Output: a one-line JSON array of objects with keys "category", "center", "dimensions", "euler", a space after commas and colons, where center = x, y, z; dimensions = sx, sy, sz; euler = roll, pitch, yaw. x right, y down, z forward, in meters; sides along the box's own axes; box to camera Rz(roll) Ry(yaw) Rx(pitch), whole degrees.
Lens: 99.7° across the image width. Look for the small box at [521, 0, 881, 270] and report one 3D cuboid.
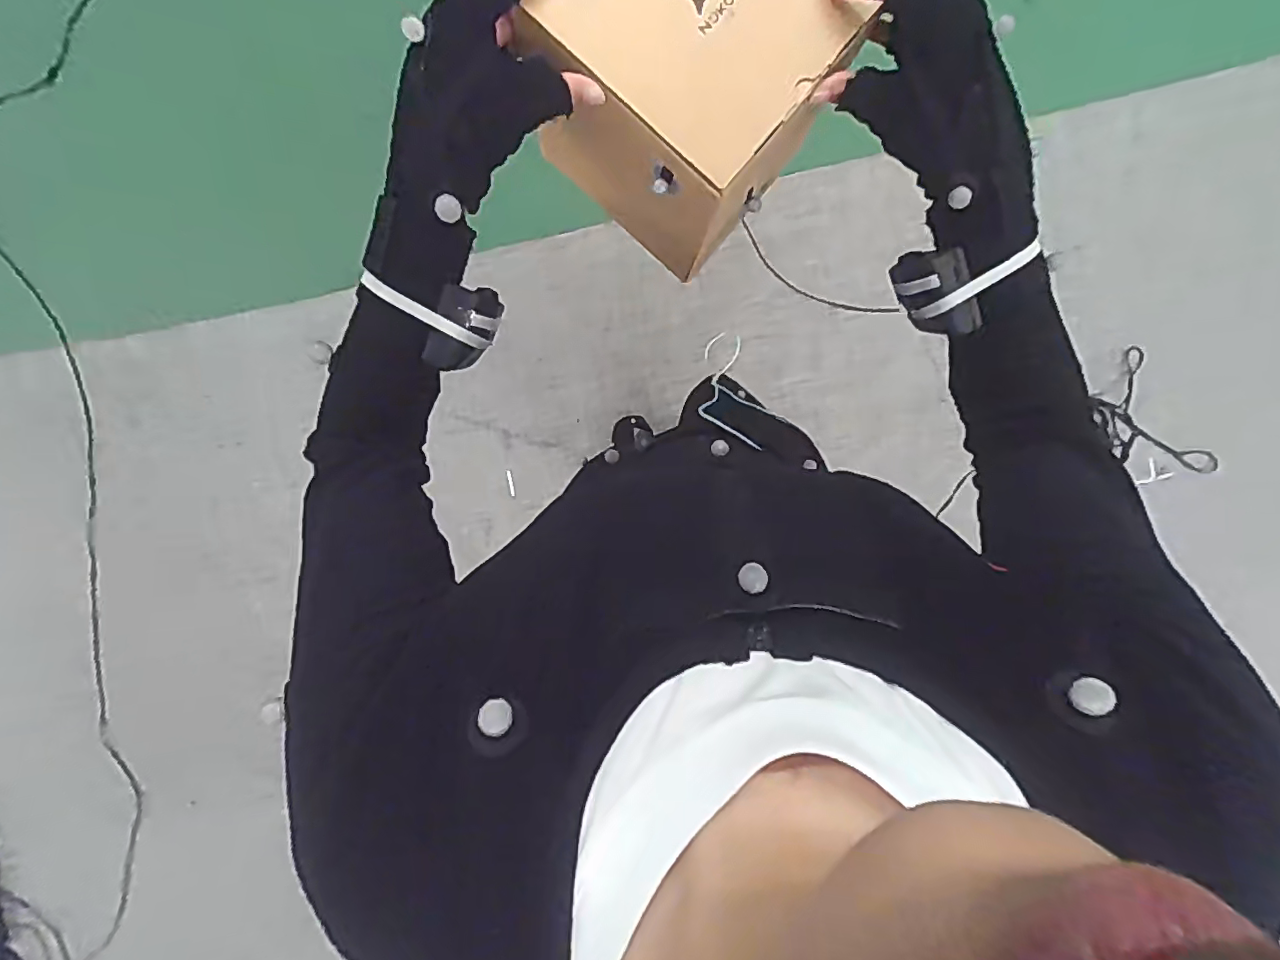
[{"category": "small box", "center": [0.034, -0.299, 0.420], "dimensions": [0.179, 0.176, 0.168], "euler": [41, 88, -5]}]
